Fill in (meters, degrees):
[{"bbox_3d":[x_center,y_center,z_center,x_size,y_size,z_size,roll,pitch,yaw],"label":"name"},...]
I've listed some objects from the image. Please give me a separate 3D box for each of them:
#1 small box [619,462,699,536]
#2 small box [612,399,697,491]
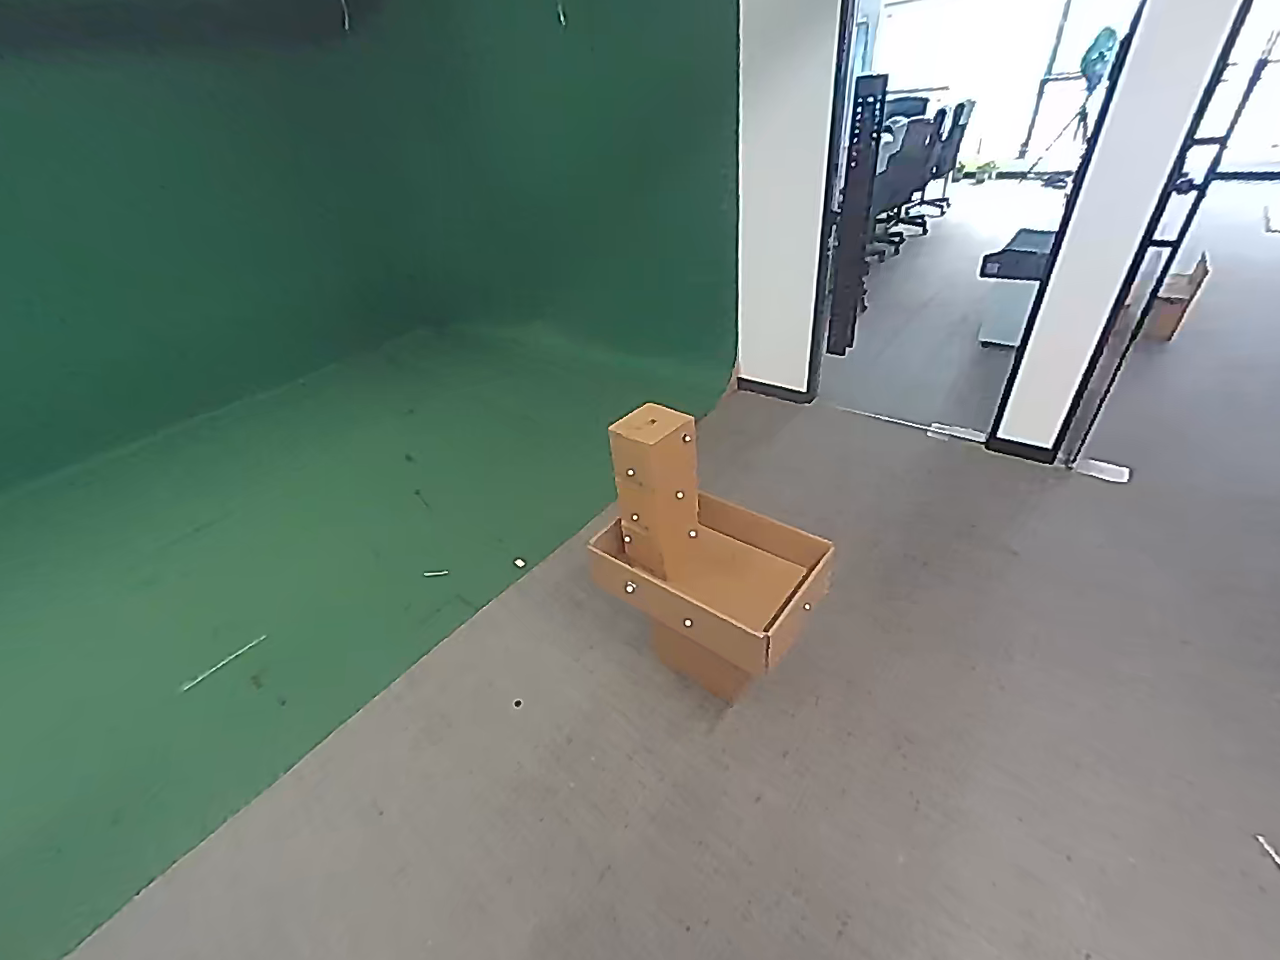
[{"bbox_3d":[0.058,0.033,1.603,0.168,0.176,0.179,24,47,35],"label":"small box"},{"bbox_3d":[0.043,-0.099,1.507,0.168,0.176,0.179,26,47,37],"label":"small box"}]
